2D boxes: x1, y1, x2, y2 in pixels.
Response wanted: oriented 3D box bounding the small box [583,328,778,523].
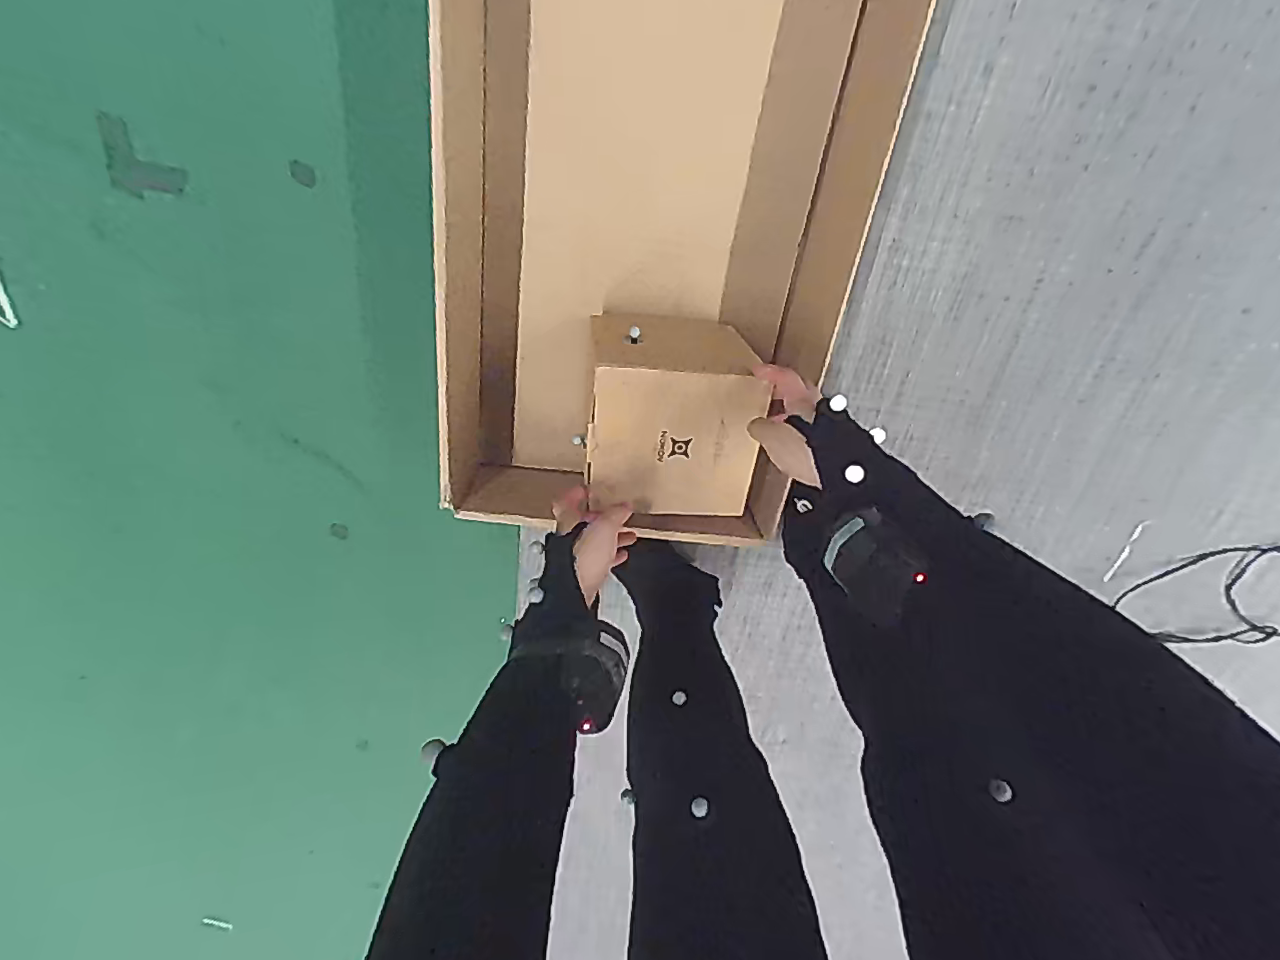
[{"bbox_3d":[0.028,-0.067,0.611,0.179,0.176,0.168,1,120,-10],"label":"small box"}]
